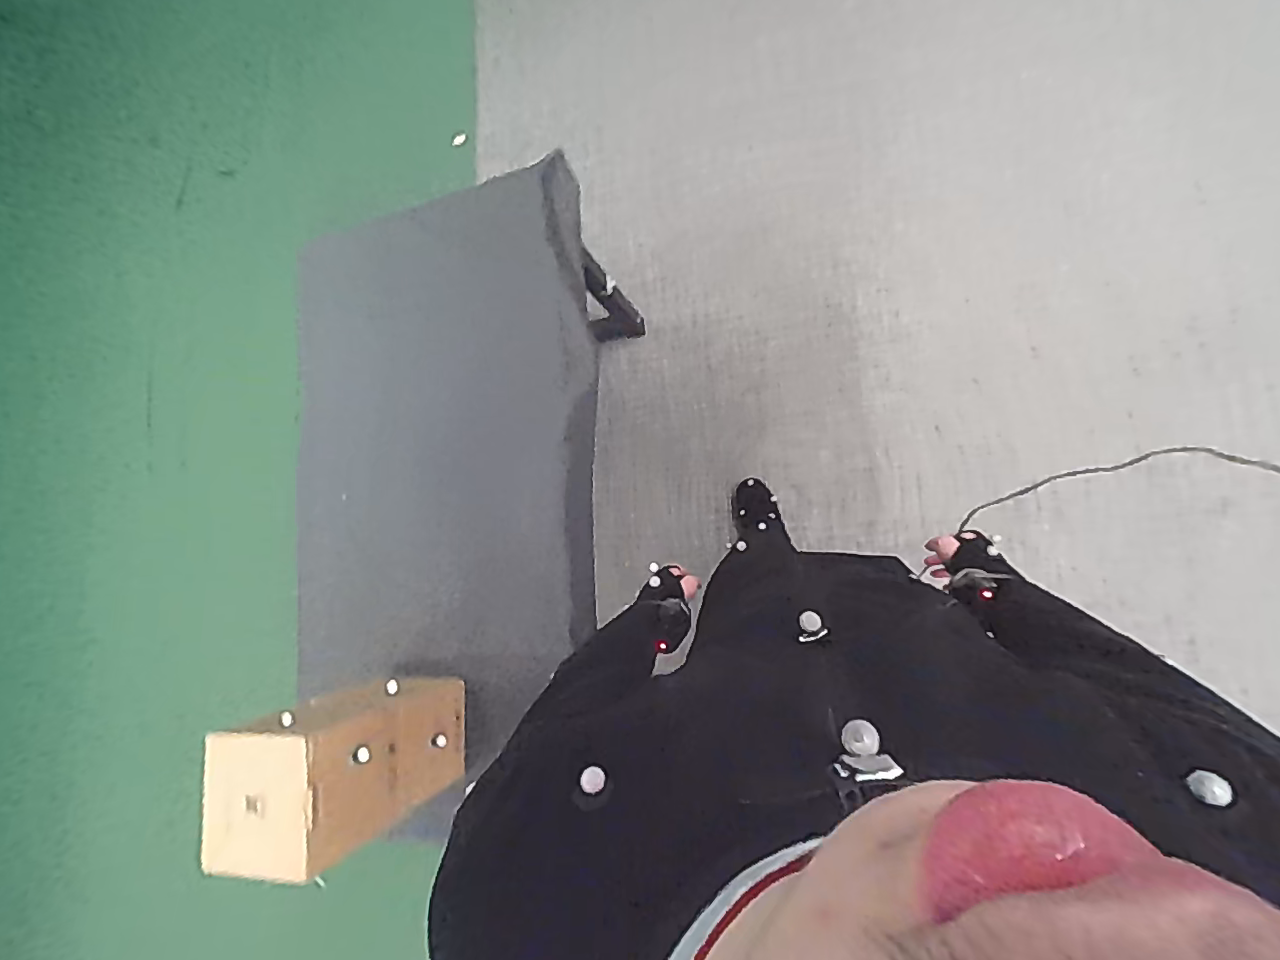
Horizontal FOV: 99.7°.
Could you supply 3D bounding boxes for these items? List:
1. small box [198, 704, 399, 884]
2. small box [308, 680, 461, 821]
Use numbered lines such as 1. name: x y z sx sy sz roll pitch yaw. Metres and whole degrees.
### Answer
1. small box: -0.454 0.412 0.741 0.179 0.176 0.168 -8 80 18
2. small box: -0.417 0.435 0.899 0.179 0.176 0.168 -6 81 17
